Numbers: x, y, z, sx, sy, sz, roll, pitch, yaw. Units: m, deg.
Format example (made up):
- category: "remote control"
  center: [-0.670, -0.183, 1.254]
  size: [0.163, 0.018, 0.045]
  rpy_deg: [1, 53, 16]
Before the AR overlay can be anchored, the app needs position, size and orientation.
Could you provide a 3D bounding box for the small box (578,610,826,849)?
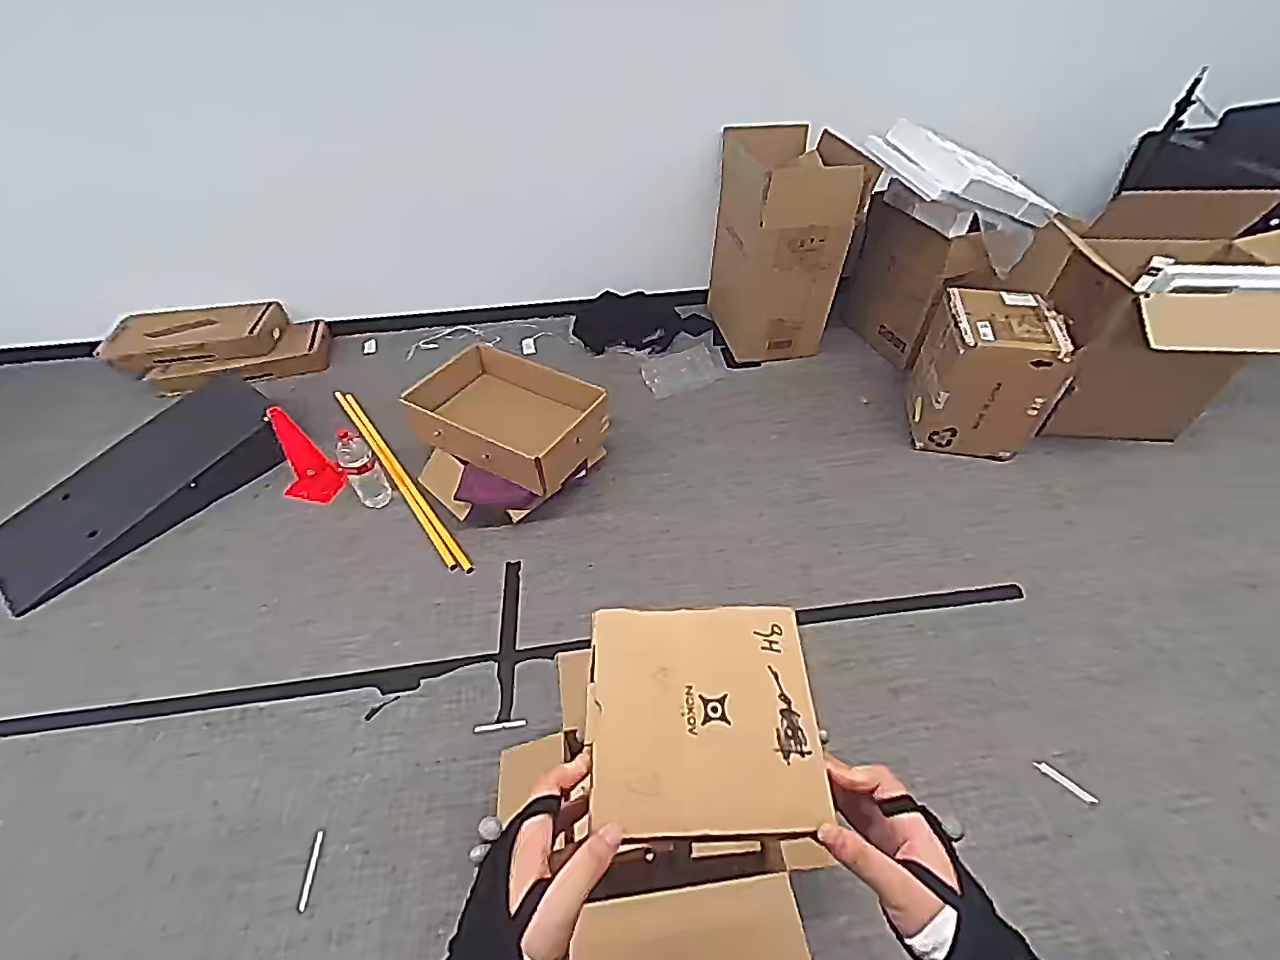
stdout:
- category: "small box"
  center: [0.041, 0.227, 0.484]
  size: [0.179, 0.176, 0.168]
  rpy_deg: [-1, 55, -2]
